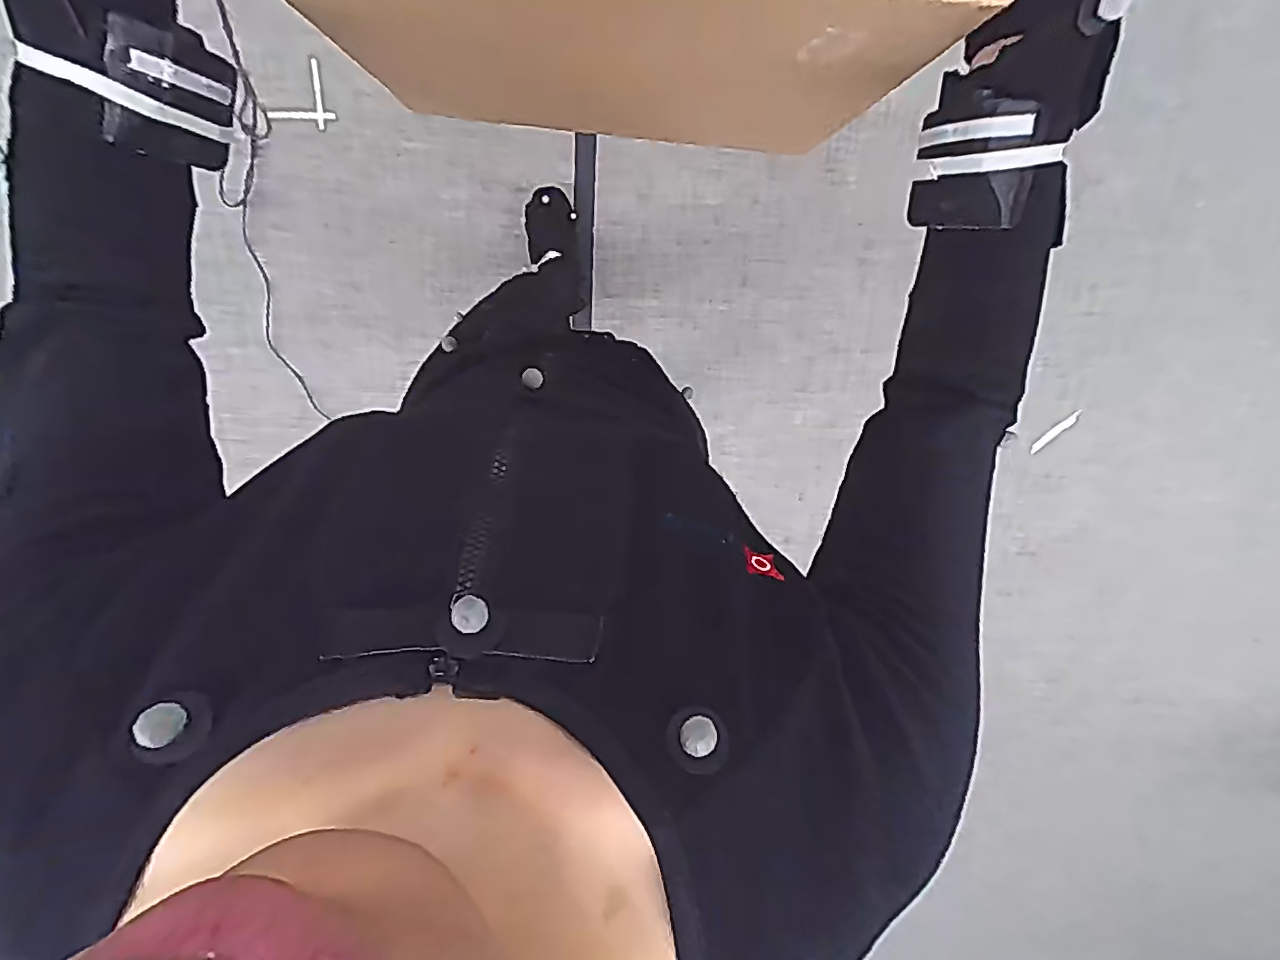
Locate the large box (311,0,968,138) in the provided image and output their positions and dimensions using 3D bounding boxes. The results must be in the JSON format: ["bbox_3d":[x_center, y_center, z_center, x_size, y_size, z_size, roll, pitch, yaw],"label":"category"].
[{"bbox_3d":[-0.010,-0.455,0.361,0.408,0.320,0.320,3,110,-4],"label":"large box"}]
